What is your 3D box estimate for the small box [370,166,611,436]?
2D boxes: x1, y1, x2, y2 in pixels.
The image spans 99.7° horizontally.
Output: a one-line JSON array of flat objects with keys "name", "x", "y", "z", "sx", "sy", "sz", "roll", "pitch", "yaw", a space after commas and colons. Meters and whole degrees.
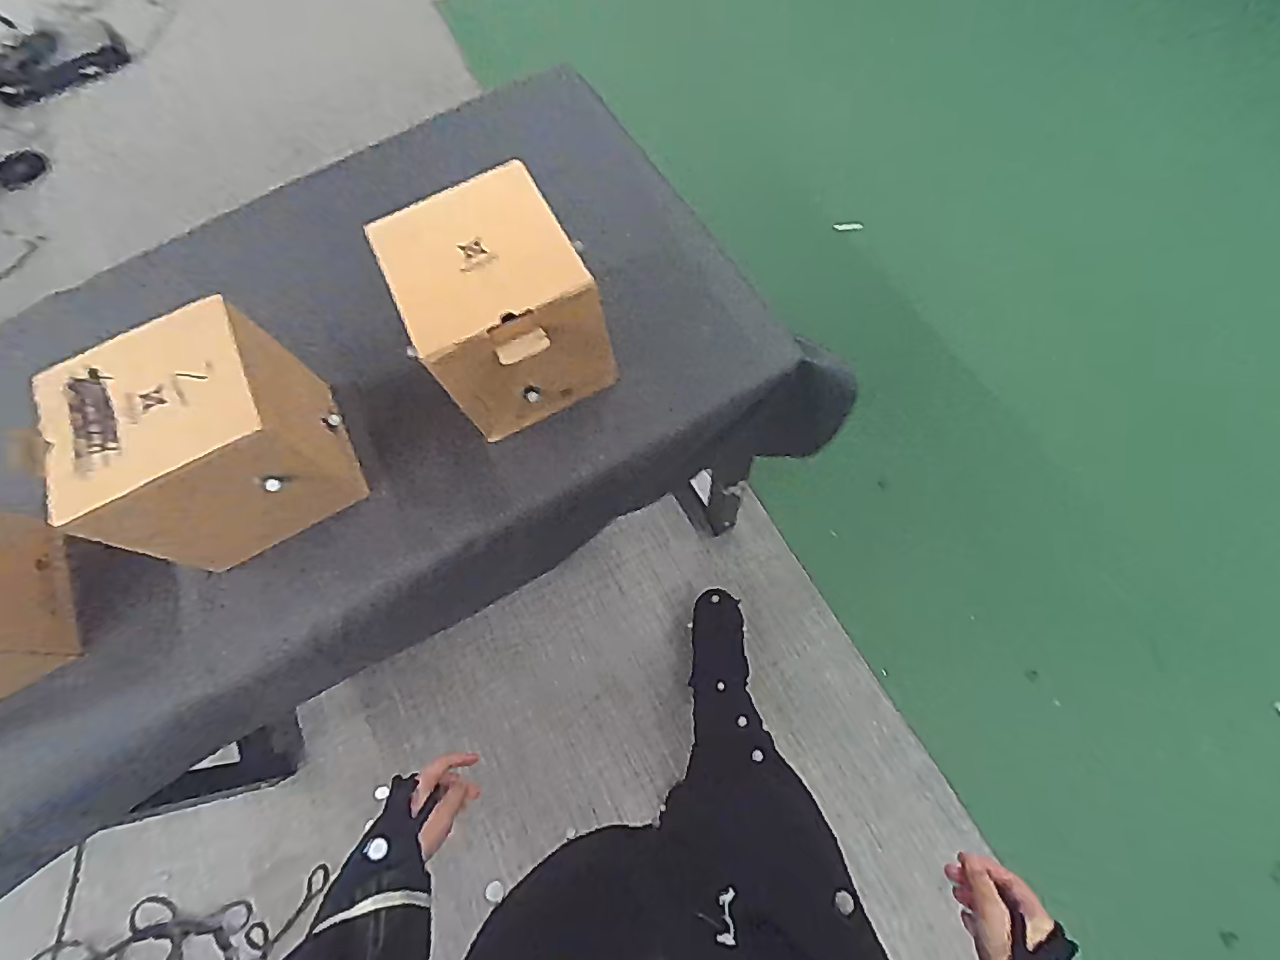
[{"name": "small box", "x": -0.144, "y": -0.178, "z": 0.571, "sx": 0.168, "sy": 0.176, "sz": 0.179, "roll": -27, "pitch": 70, "yaw": -6}]

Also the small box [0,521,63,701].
[{"name": "small box", "x": -0.692, "y": 0.132, "z": 0.494, "sx": 0.179, "sy": 0.176, "sz": 0.168, "roll": -30, "pitch": 69, "yaw": -6}]
